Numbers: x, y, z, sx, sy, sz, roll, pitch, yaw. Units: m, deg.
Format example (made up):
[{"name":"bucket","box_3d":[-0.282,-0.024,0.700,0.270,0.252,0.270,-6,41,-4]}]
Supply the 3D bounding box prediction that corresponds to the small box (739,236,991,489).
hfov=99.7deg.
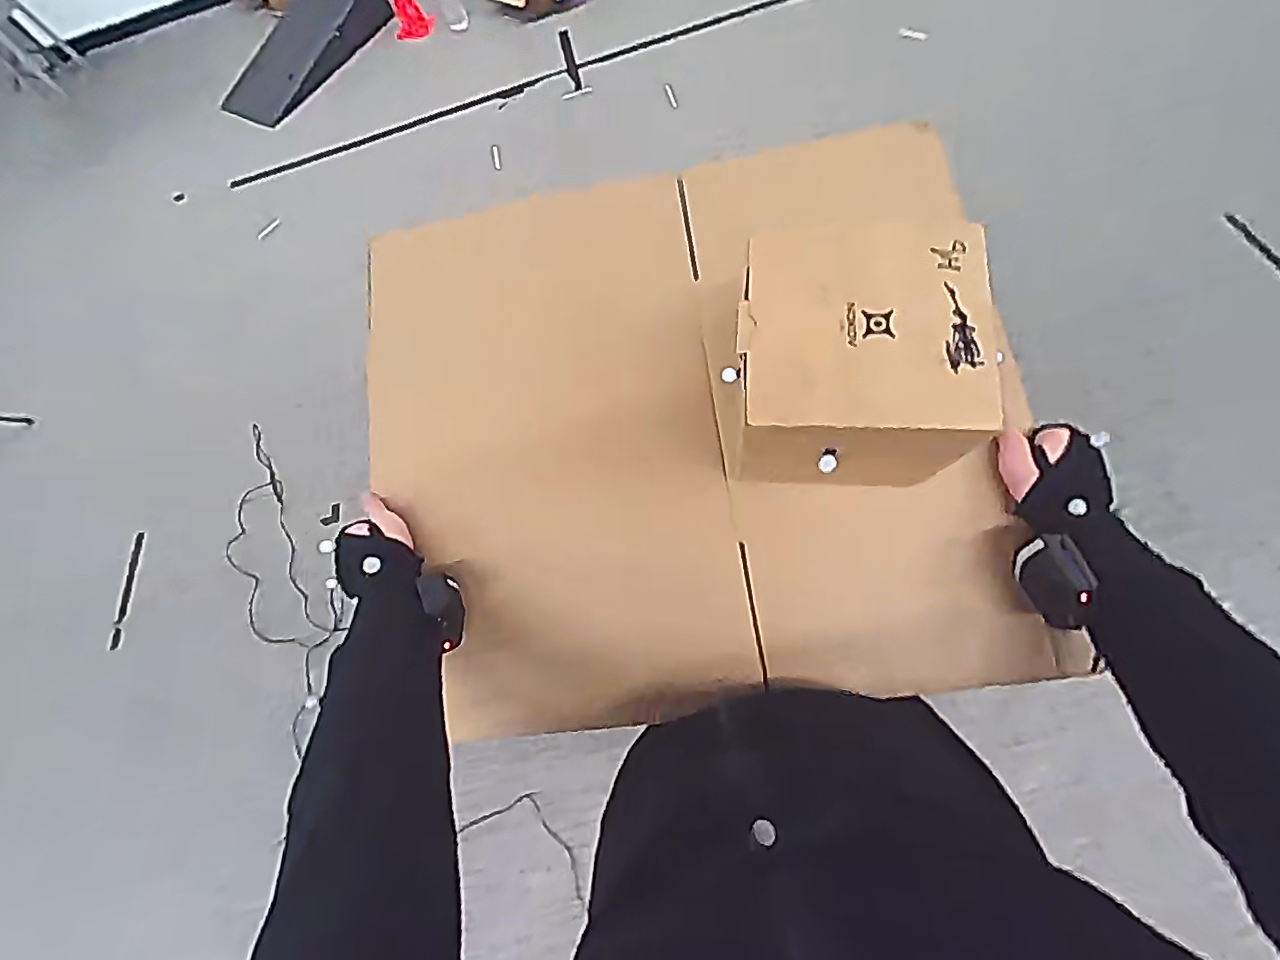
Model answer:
[{"name":"small box","box_3d":[0.180,-0.091,0.489,0.179,0.176,0.168,1,76,10]}]
